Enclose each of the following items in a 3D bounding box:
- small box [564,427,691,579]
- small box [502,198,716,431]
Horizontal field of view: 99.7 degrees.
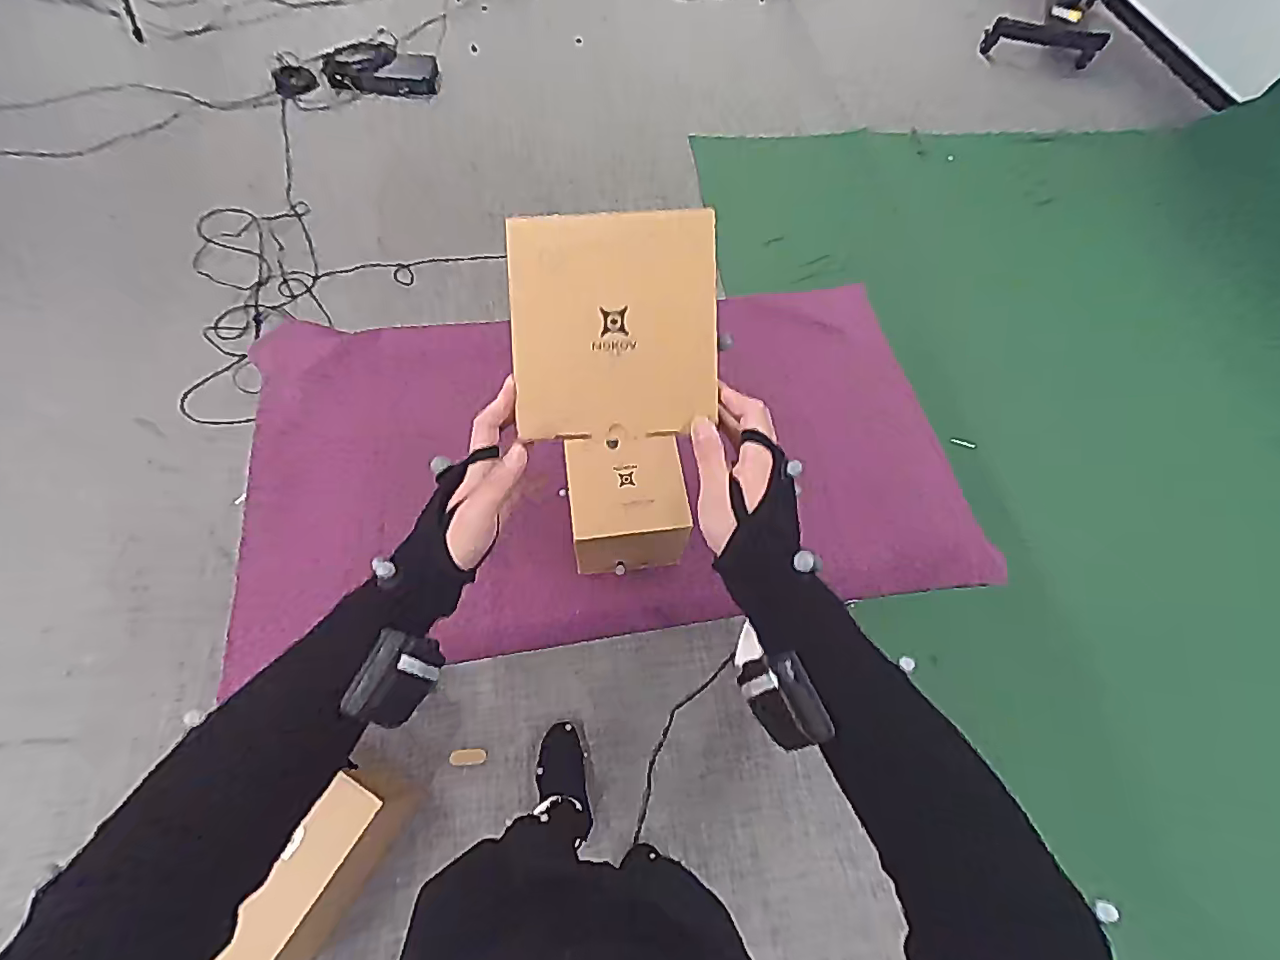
[{"bbox_3d":[-0.026,0.037,0.826,0.168,0.176,0.179,-6,63,-6],"label":"small box"},{"bbox_3d":[-0.022,-0.136,0.501,0.168,0.176,0.179,-2,97,2],"label":"small box"}]
